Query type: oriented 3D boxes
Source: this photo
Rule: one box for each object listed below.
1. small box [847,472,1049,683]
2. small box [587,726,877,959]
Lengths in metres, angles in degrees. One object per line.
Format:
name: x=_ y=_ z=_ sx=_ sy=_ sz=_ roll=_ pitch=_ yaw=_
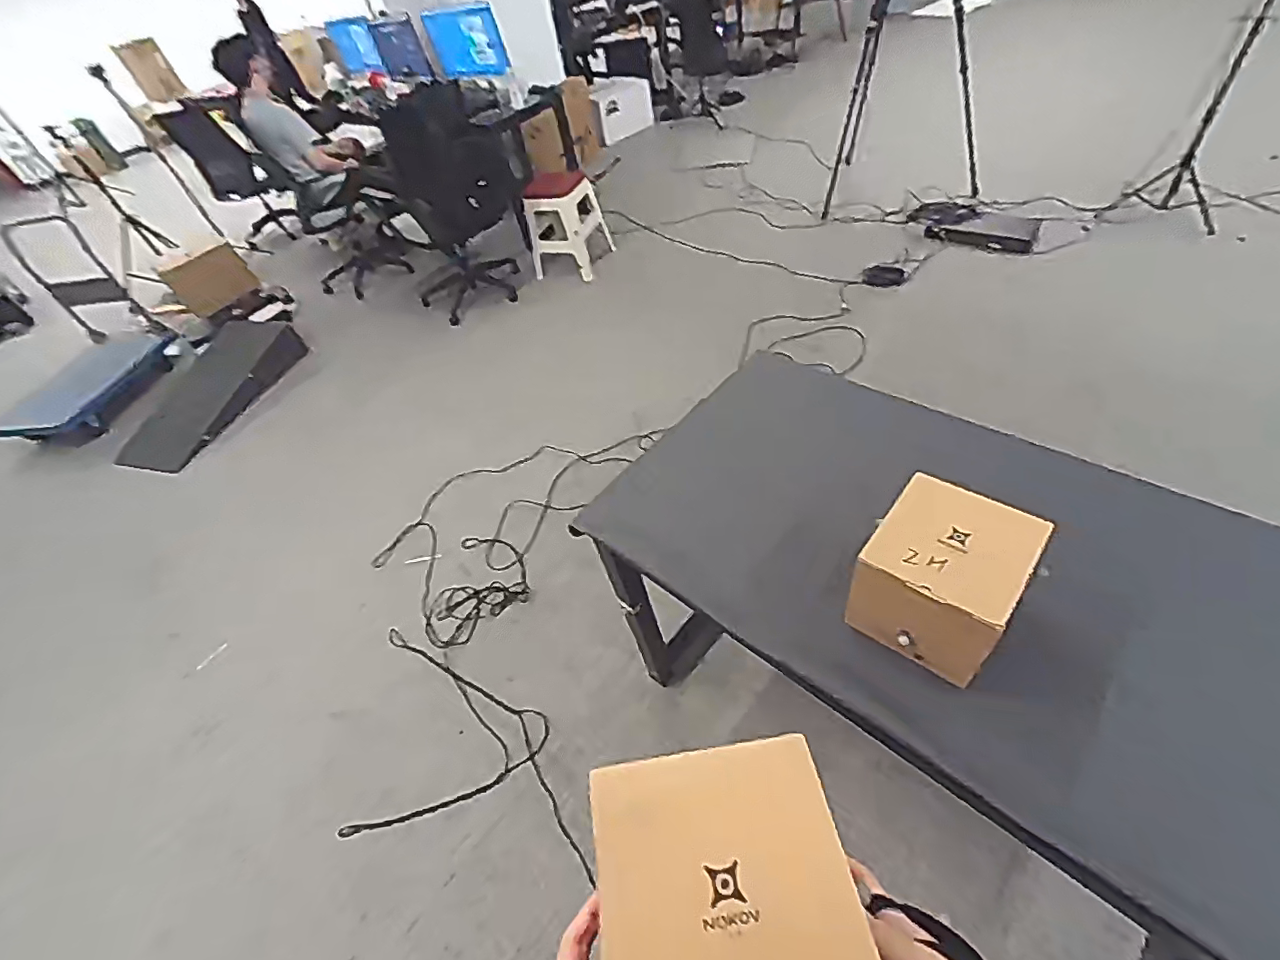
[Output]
small box: x=0.392 y=0.127 z=0.716 sx=0.168 sy=0.176 sz=0.179 roll=28 pitch=59 yaw=33
small box: x=0.054 y=0.311 z=0.397 sx=0.168 sy=0.176 sz=0.179 roll=-8 pitch=44 yaw=-3
